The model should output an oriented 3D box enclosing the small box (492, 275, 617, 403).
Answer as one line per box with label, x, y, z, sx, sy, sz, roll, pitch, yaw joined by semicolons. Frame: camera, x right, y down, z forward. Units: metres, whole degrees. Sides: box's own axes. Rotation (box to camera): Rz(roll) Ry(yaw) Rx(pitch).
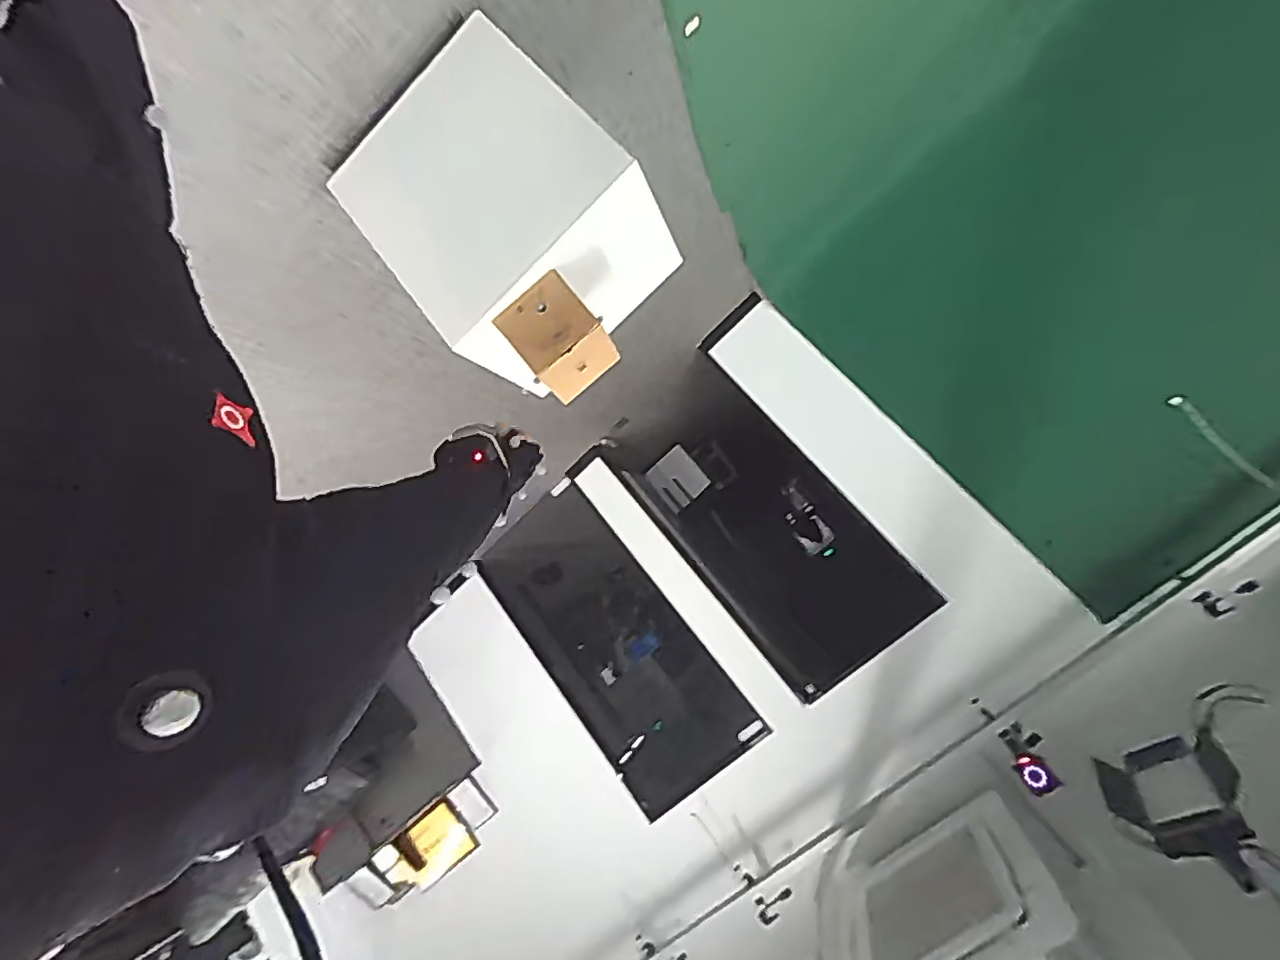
small box;-0.178;-0.298;1.151;0.168;0.176;0.179;-40;165;2
